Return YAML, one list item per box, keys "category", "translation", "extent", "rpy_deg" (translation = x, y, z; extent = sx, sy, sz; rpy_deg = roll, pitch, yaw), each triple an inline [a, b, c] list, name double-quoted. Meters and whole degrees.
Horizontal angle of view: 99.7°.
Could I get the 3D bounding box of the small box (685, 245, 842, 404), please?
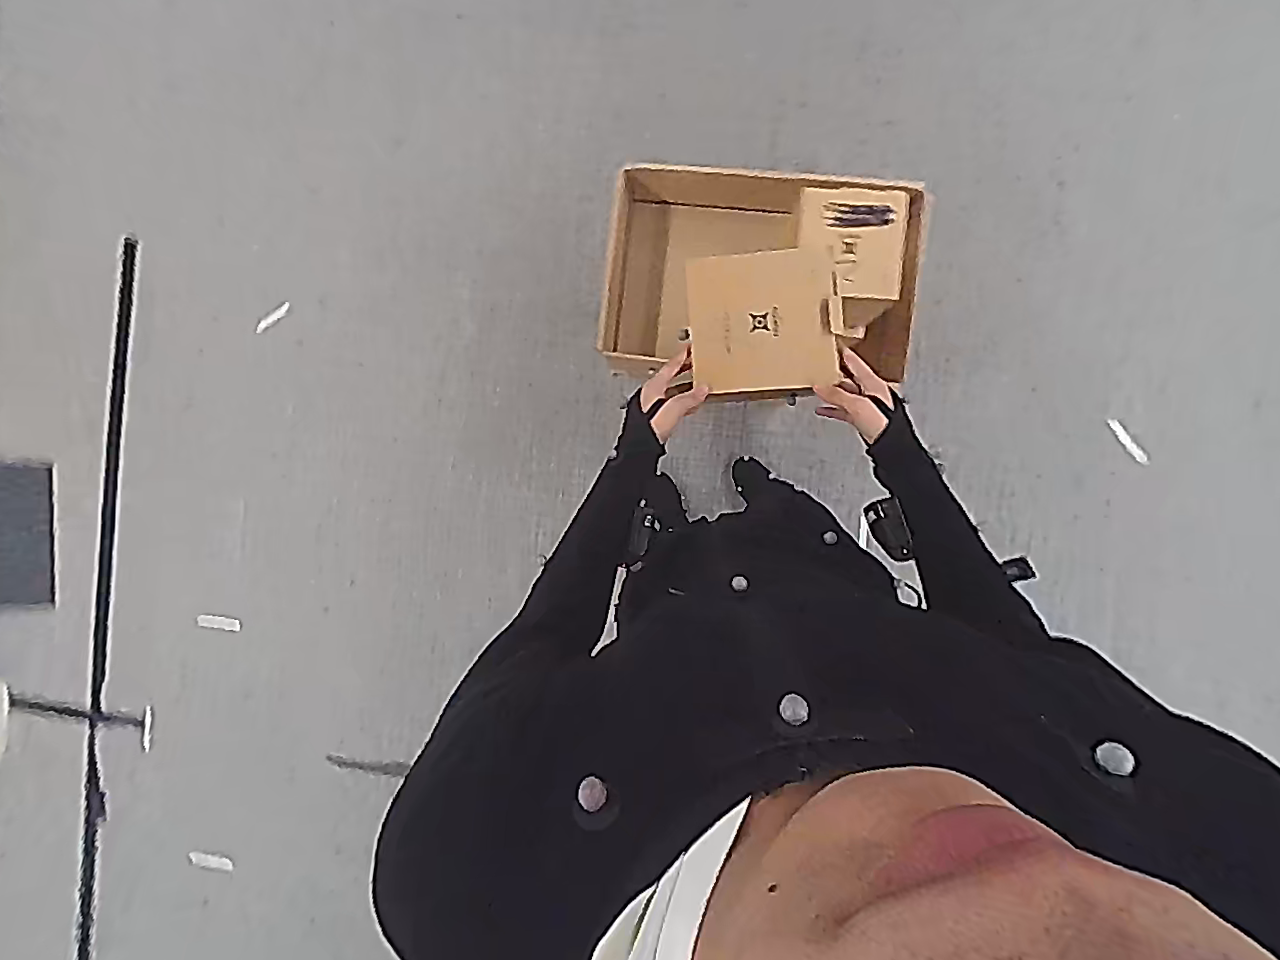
- category: "small box"
  translation: [0.153, -0.194, 0.719]
  extent: [0.179, 0.176, 0.168]
  rpy_deg: [-4, 93, 5]
